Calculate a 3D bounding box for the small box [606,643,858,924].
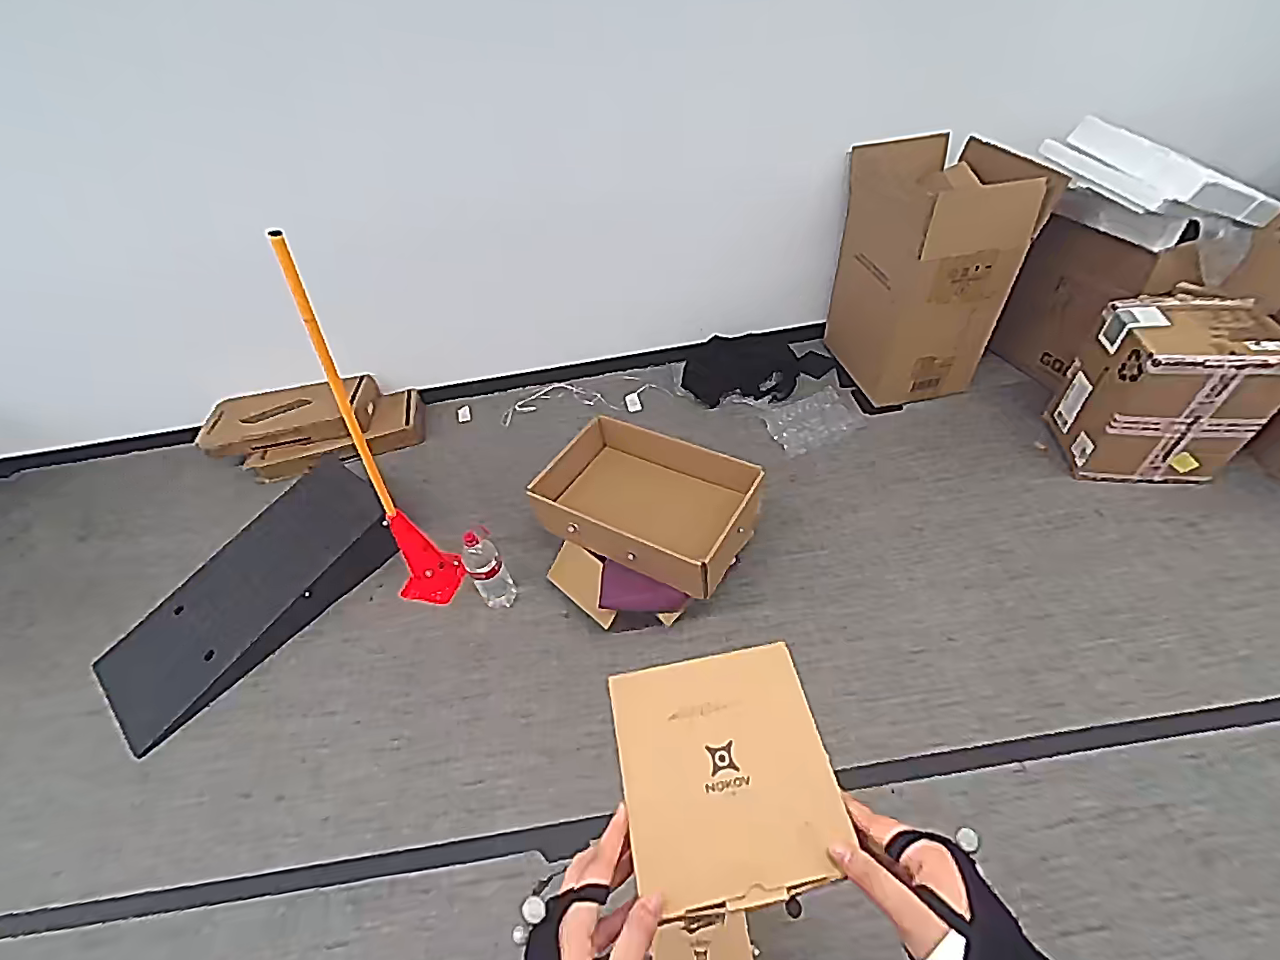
[{"bbox_3d":[0.068,0.277,0.493,0.168,0.176,0.179,-10,50,-5],"label":"small box"}]
